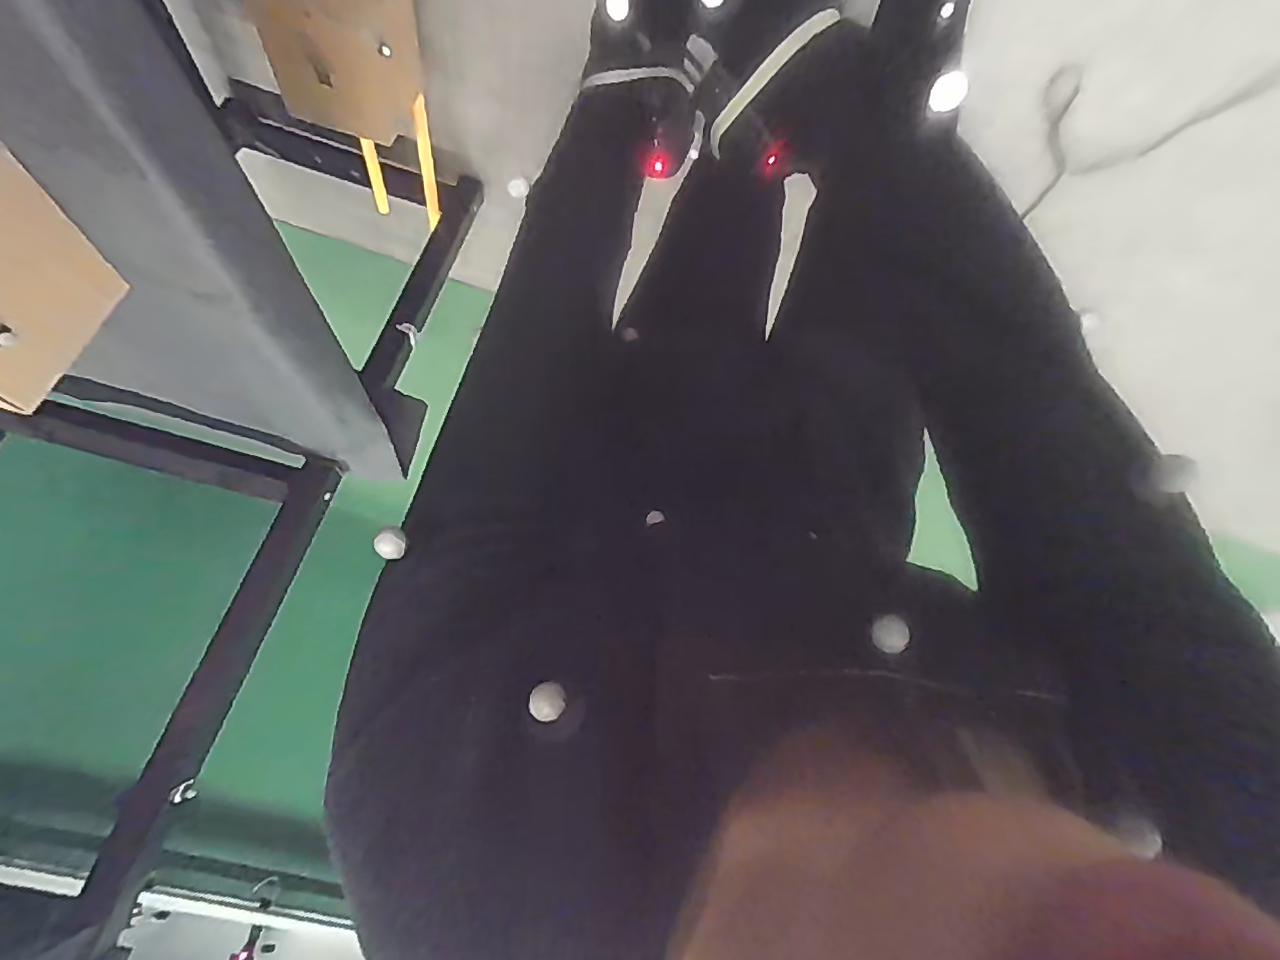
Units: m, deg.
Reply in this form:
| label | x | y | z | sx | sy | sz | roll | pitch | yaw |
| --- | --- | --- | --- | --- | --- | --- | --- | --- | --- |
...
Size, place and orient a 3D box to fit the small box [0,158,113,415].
| label | x | y | z | sx | sy | sz | roll | pitch | yaw |
| --- | --- | --- | --- | --- | --- | --- | --- | --- | --- |
| small box | -0.613 | -0.186 | 0.447 | 0.168 | 0.176 | 0.179 | 18 | 156 | -9 |
